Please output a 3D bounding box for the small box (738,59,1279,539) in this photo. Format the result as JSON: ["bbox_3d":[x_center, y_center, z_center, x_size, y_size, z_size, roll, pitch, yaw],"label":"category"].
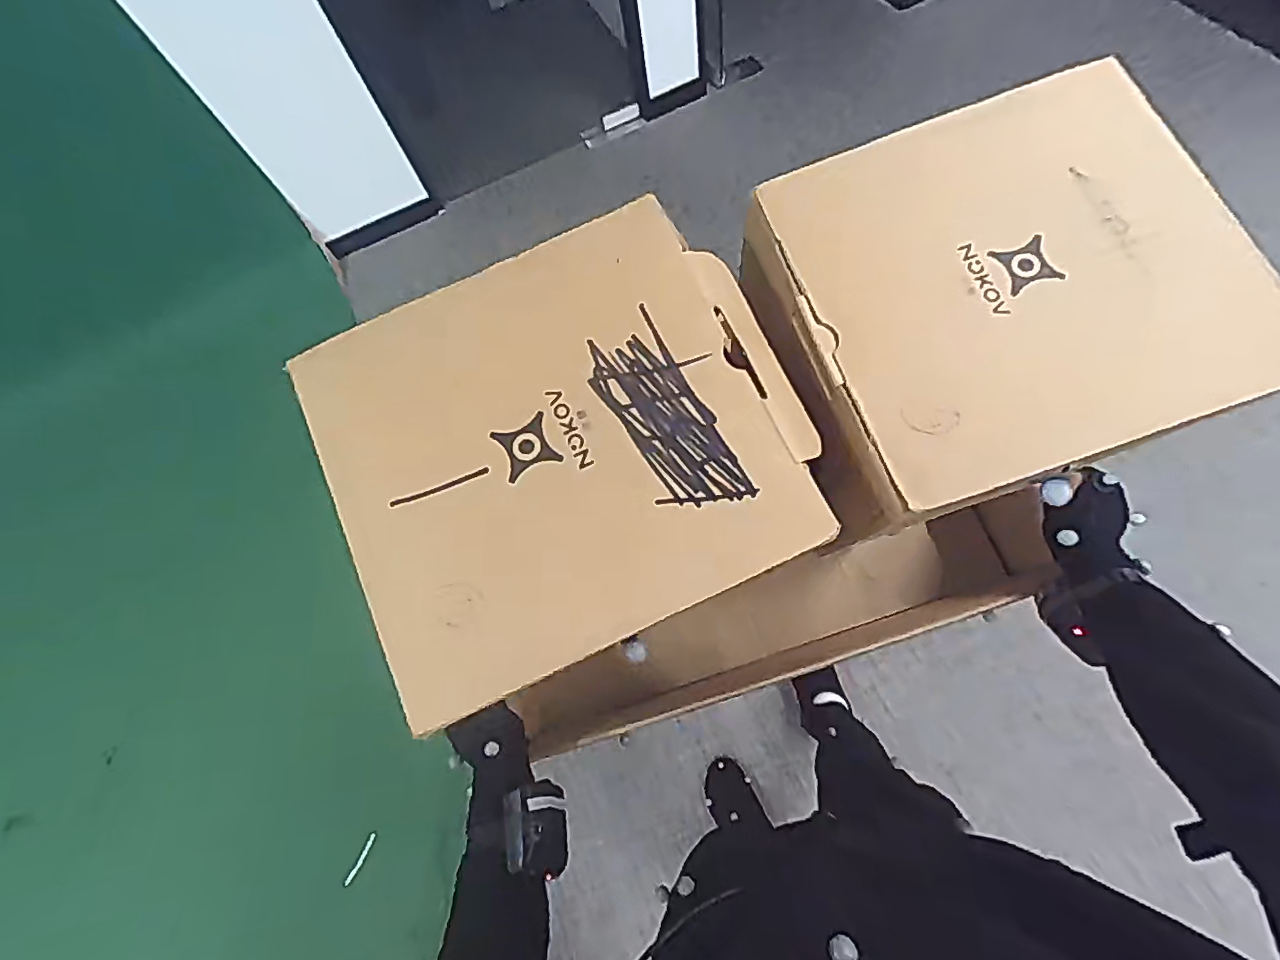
[{"bbox_3d":[0.163,-0.075,0.309,0.179,0.176,0.168,-19,75,2],"label":"small box"}]
